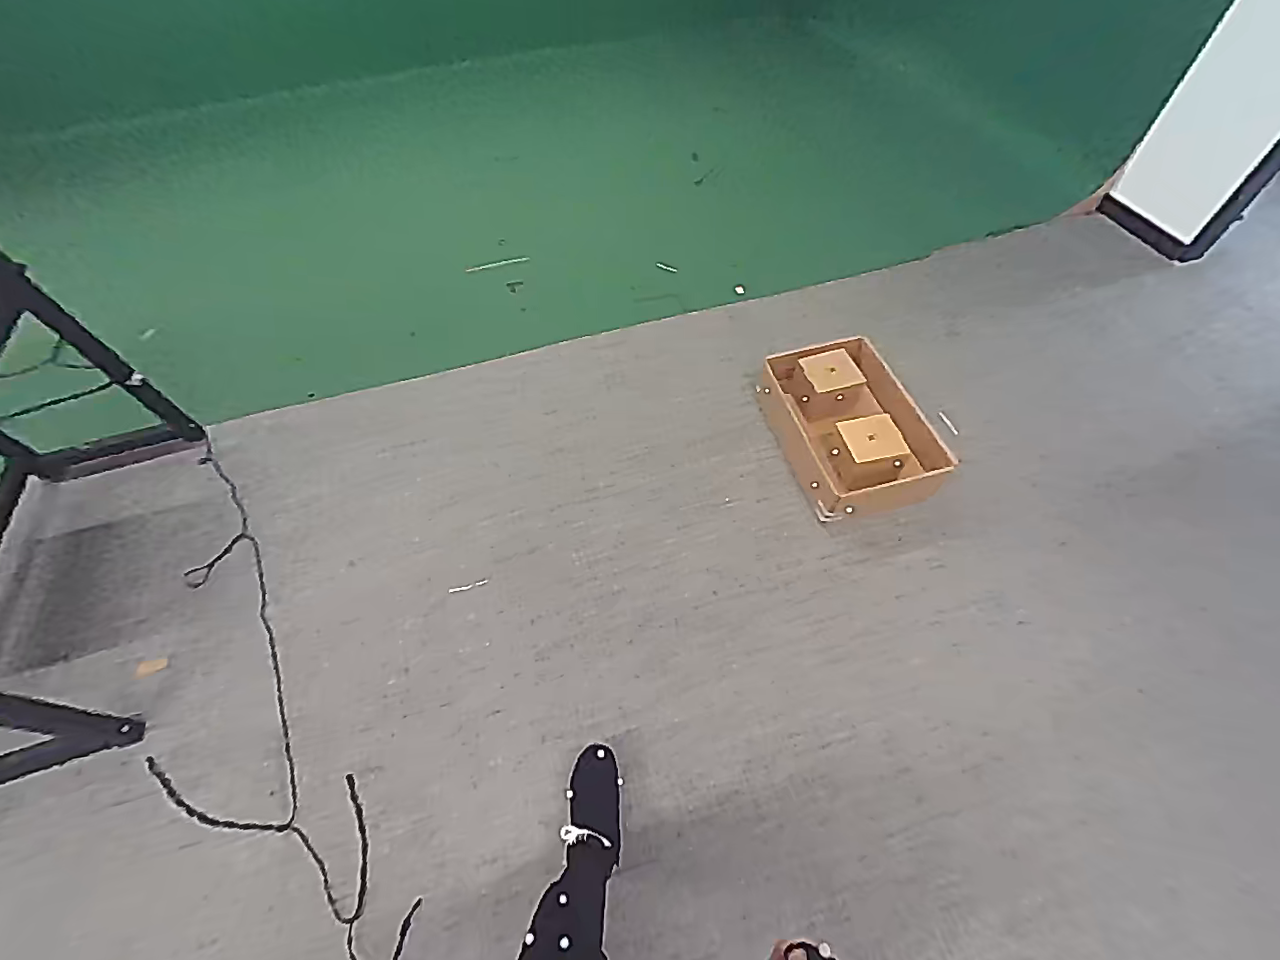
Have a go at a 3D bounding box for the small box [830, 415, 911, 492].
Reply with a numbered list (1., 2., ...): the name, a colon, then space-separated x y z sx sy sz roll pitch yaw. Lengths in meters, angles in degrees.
1. small box: 0.726 -0.081 1.730 0.179 0.176 0.168 -11 56 -3

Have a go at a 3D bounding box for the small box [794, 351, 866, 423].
1. small box: 0.657 -0.321 1.896 0.179 0.176 0.168 -14 58 -6
